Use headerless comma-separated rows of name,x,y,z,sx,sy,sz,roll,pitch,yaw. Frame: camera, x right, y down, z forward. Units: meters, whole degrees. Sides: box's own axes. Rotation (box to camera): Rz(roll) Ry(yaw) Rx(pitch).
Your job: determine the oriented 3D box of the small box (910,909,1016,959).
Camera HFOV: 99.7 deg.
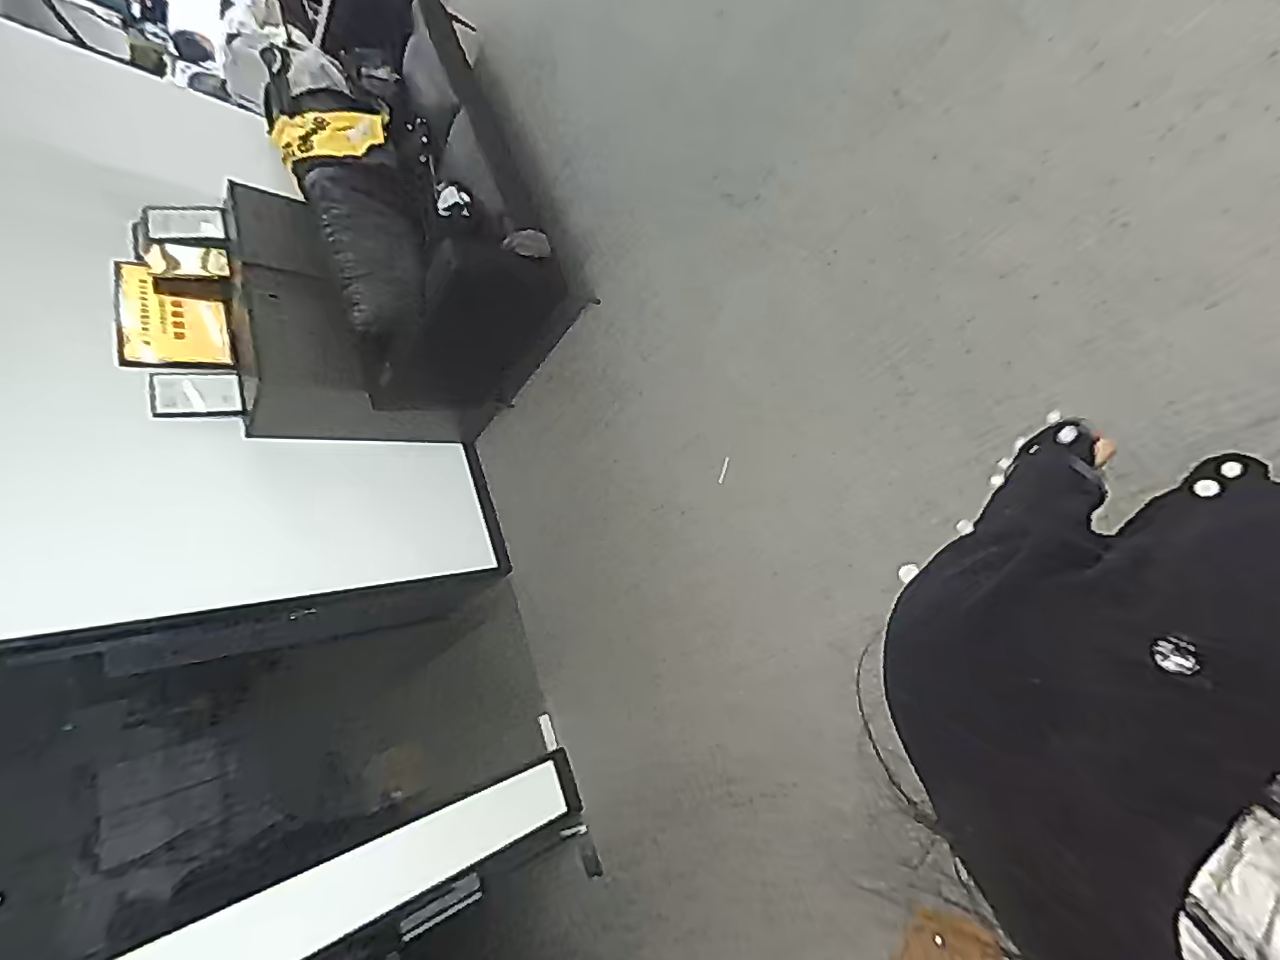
small box,0.796,1.189,1.311,0.179,0.176,0.168,-25,74,42
